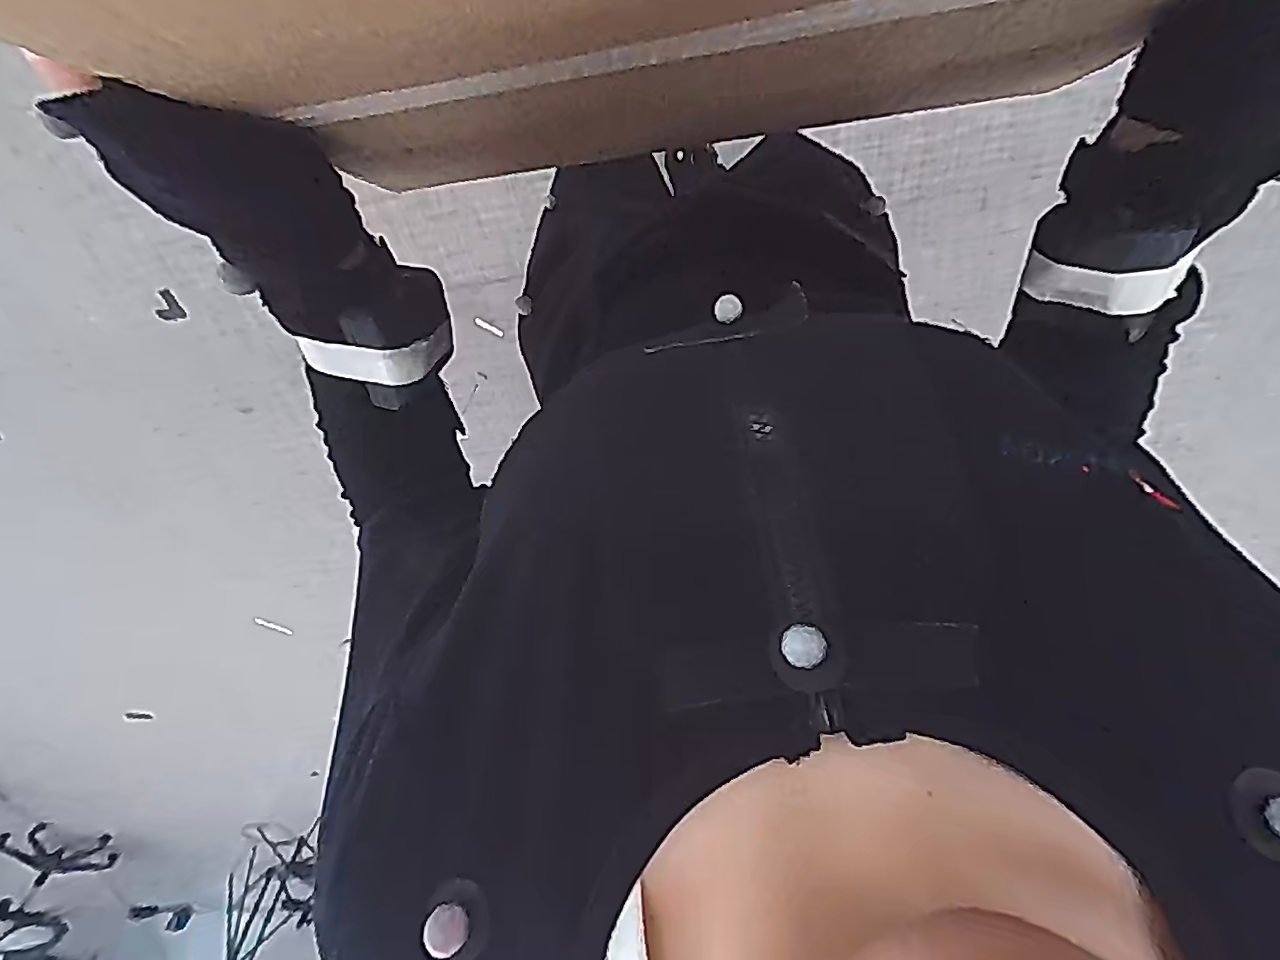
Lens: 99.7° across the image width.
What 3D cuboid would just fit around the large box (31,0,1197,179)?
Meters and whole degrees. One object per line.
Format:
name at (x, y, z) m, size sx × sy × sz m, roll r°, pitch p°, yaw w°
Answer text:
large box at (0.016, -0.312, 0.147) m, size 0.408 × 0.320 × 0.320 m, roll -6°, pitch 109°, yaw 4°
